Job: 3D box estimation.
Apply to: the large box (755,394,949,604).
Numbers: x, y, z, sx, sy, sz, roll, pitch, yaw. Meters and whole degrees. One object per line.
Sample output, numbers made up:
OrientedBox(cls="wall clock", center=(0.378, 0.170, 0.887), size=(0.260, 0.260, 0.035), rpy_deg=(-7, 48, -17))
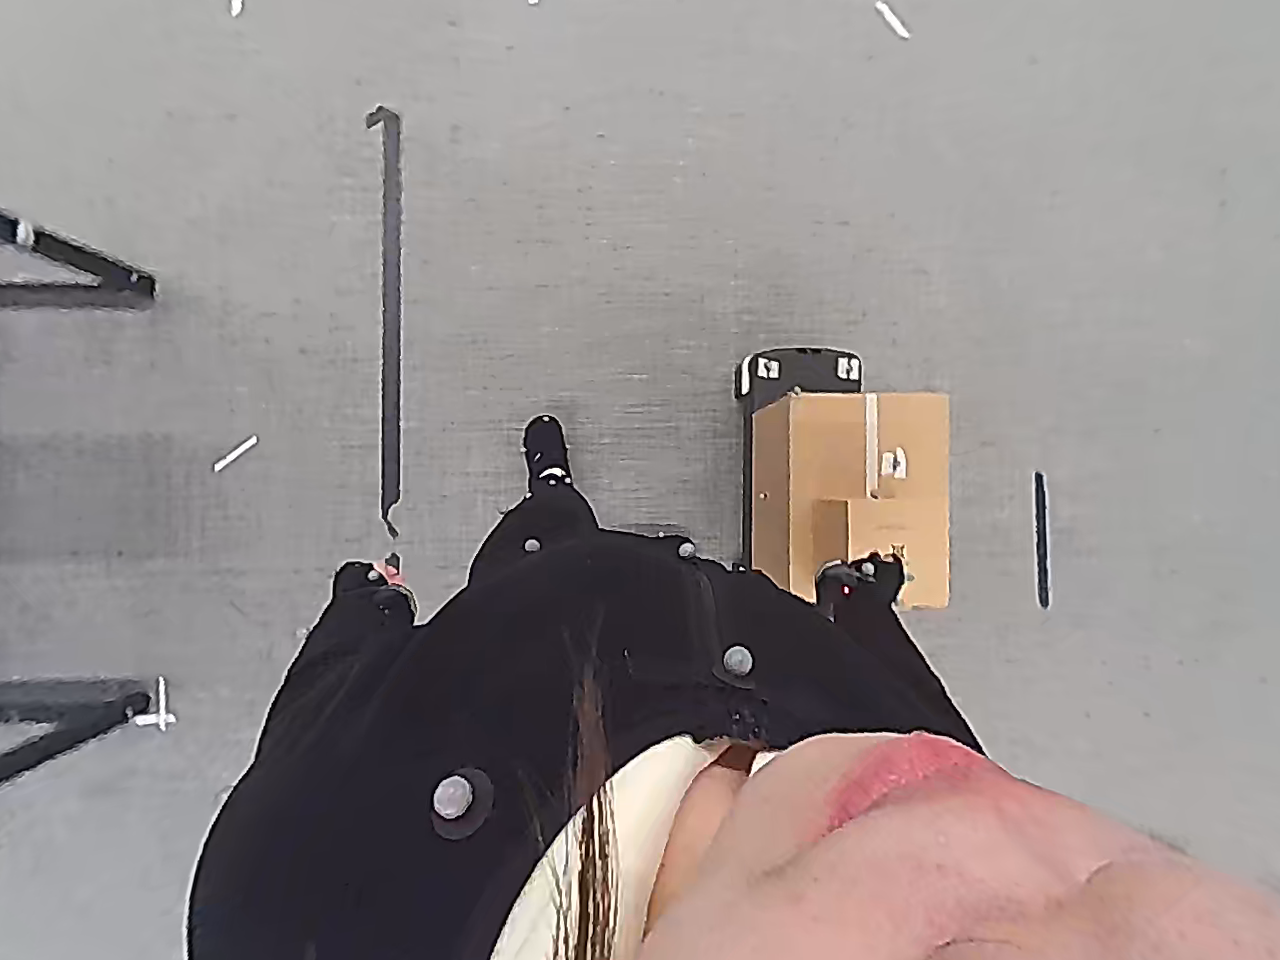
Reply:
OrientedBox(cls="large box", center=(0.436, 0.040, 1.178), size=(0.320, 0.320, 0.408), rpy_deg=(0, 89, -2))

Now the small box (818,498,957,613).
OrientedBox(cls="small box", center=(0.416, 0.123, 0.931), size=(0.168, 0.176, 0.179), rpy_deg=(1, 89, -1))

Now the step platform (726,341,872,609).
OrientedBox(cls="step platform", center=(0.411, -0.011, 1.416), size=(0.286, 0.204, 0.684), rpy_deg=(6, 89, -2))
